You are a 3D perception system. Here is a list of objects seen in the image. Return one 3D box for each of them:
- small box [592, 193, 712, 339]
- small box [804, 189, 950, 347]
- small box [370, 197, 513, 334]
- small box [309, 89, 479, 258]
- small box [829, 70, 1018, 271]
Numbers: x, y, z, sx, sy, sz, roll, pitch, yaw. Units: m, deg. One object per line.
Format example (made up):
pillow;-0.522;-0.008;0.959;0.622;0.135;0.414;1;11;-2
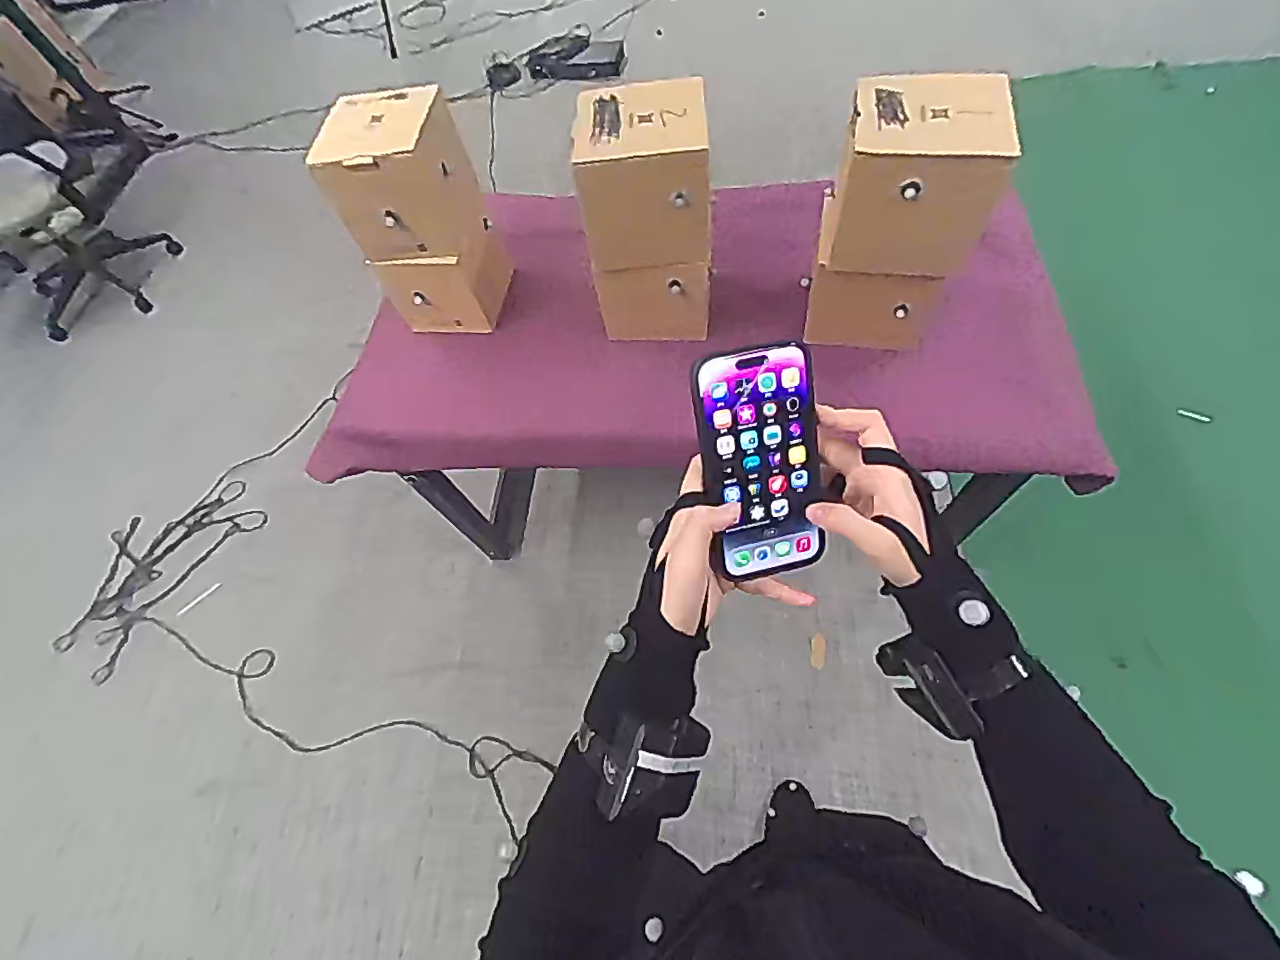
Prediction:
small box;0.031;-0.355;0.916;0.179;0.176;0.168;2;62;10
small box;0.365;-0.330;0.853;0.179;0.176;0.168;7;63;14
small box;-0.351;-0.386;0.994;0.168;0.176;0.179;3;62;10
small box;-0.372;-0.471;0.855;0.168;0.176;0.179;-2;62;7
small box;0.349;-0.394;0.702;0.179;0.176;0.168;8;63;12
